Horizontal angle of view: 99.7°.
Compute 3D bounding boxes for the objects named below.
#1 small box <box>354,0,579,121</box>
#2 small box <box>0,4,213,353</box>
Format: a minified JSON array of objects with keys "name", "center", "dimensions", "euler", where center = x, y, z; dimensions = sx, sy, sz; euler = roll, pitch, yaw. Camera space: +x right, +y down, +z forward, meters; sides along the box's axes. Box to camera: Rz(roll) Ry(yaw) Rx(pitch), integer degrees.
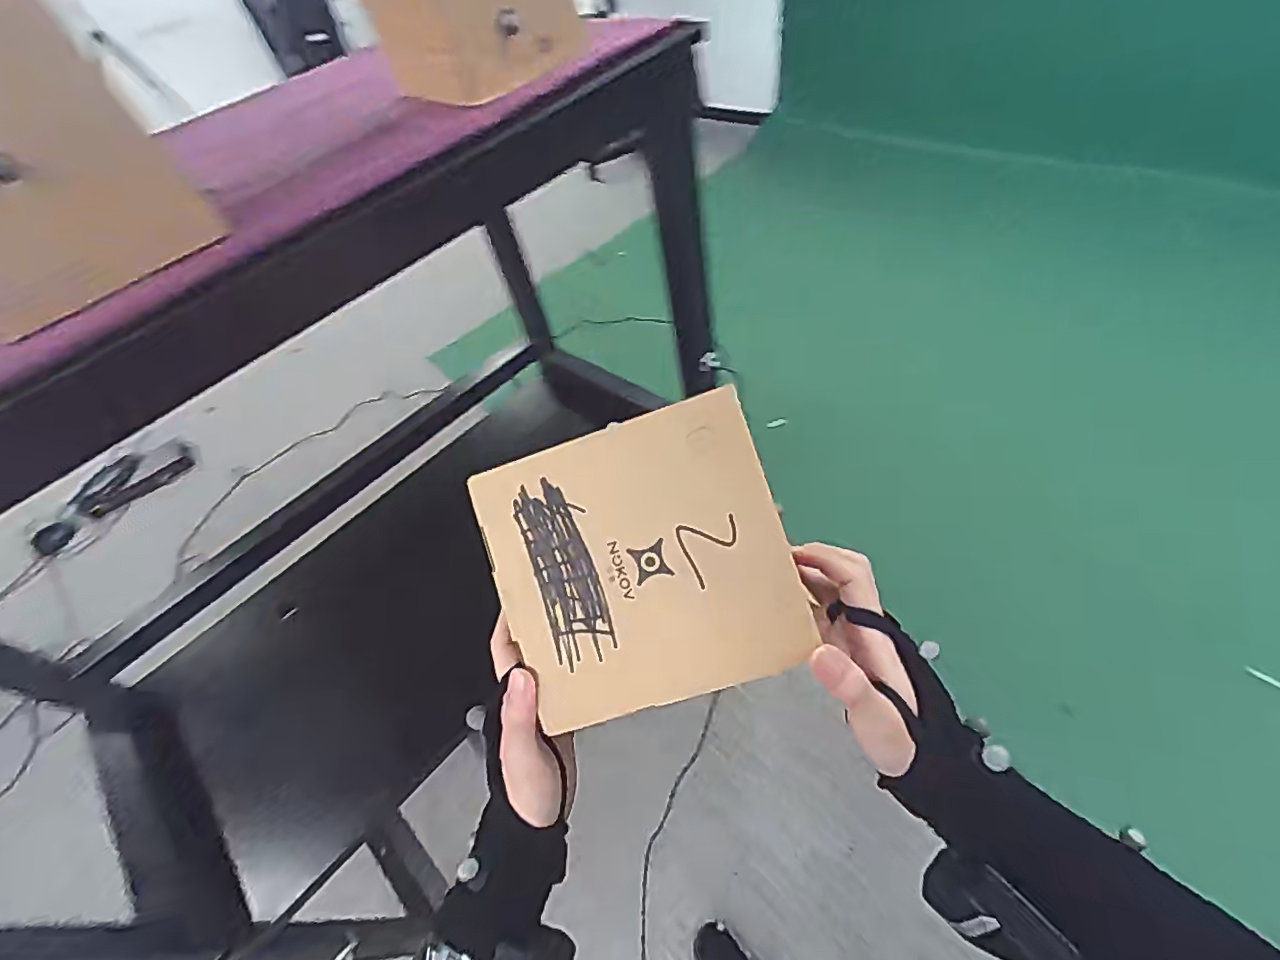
[{"name":"small box","center":[-0.193,-0.511,0.580],"dimensions":[0.179,0.176,0.168],"euler":[33,65,32]},{"name":"small box","center":[-0.479,-0.231,0.418],"dimensions":[0.168,0.176,0.179],"euler":[33,66,34]}]
